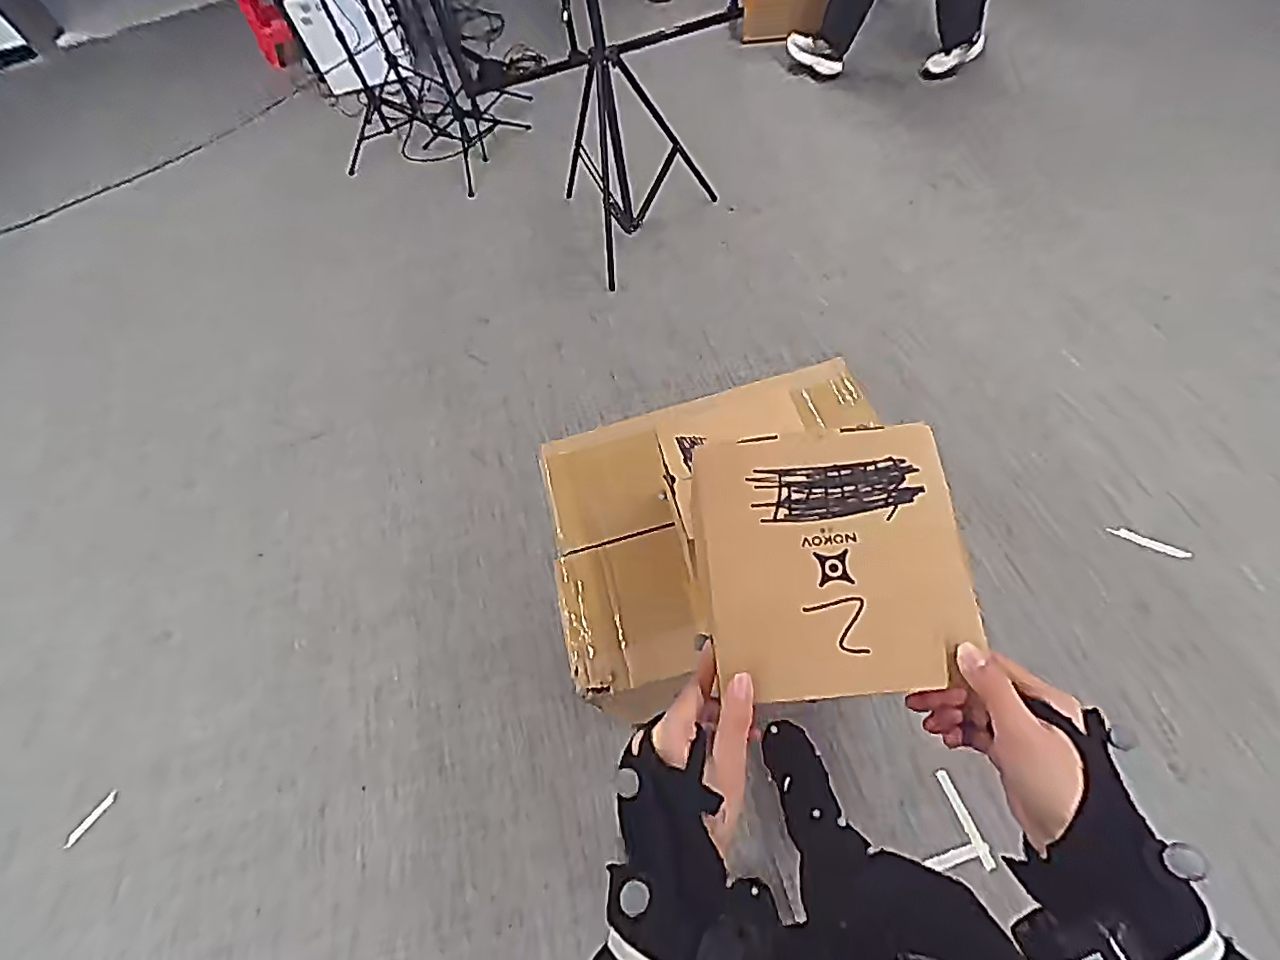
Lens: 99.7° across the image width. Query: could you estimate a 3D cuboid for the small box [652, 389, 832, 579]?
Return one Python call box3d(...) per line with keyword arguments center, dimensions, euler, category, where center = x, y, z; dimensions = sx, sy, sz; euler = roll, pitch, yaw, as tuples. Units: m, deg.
box3d(center=(0.125, 0.014, 0.706), dimensions=(0.179, 0.176, 0.168), euler=(-15, 61, 0), category="small box")
